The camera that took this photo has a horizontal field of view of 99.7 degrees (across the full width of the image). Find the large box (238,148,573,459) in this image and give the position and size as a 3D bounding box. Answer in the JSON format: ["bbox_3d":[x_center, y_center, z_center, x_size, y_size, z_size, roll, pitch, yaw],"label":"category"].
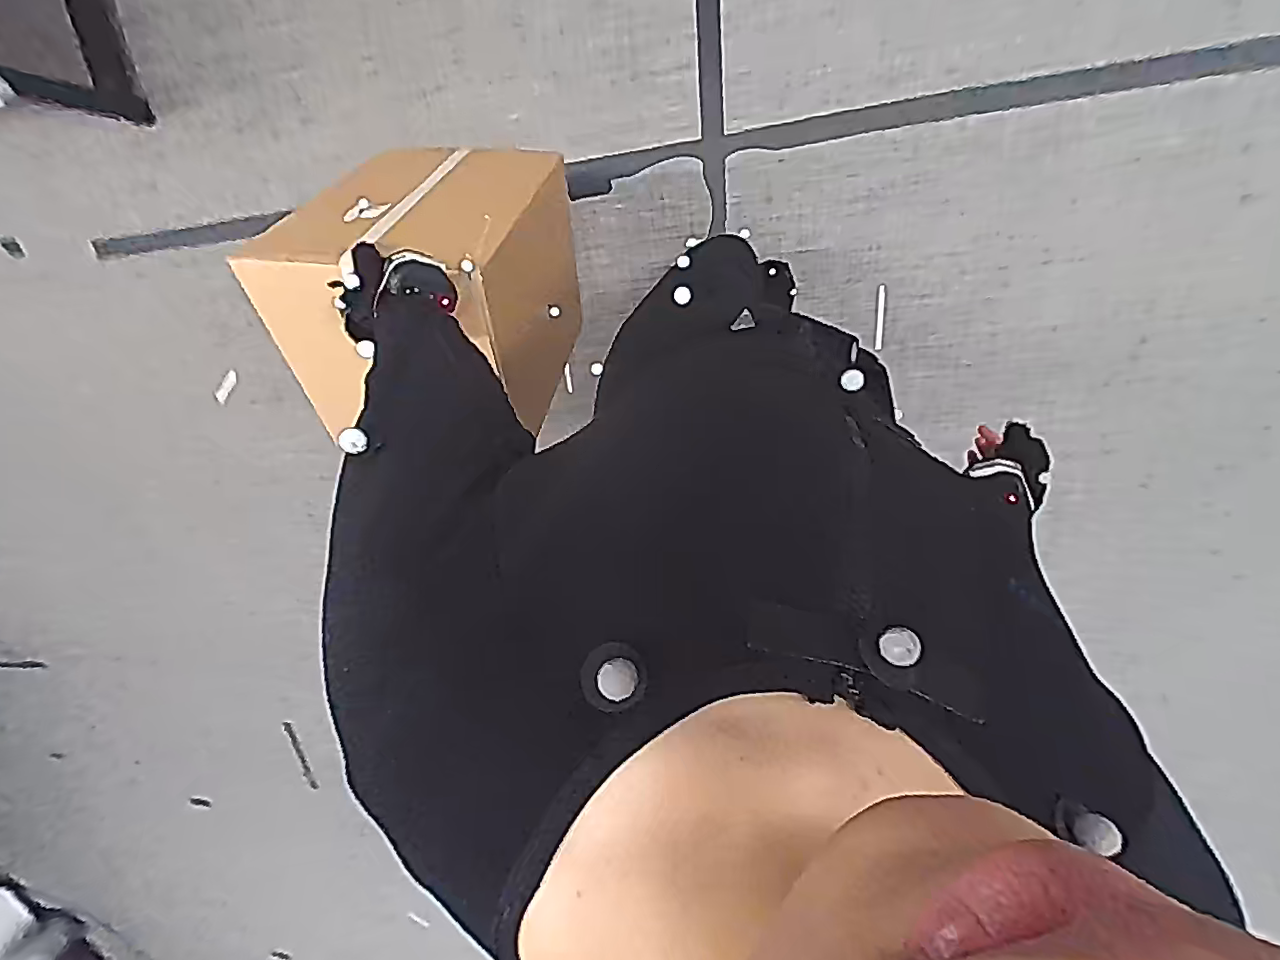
[{"bbox_3d":[-0.308,-0.292,0.874,0.320,0.408,0.320,6,139,7],"label":"large box"}]
